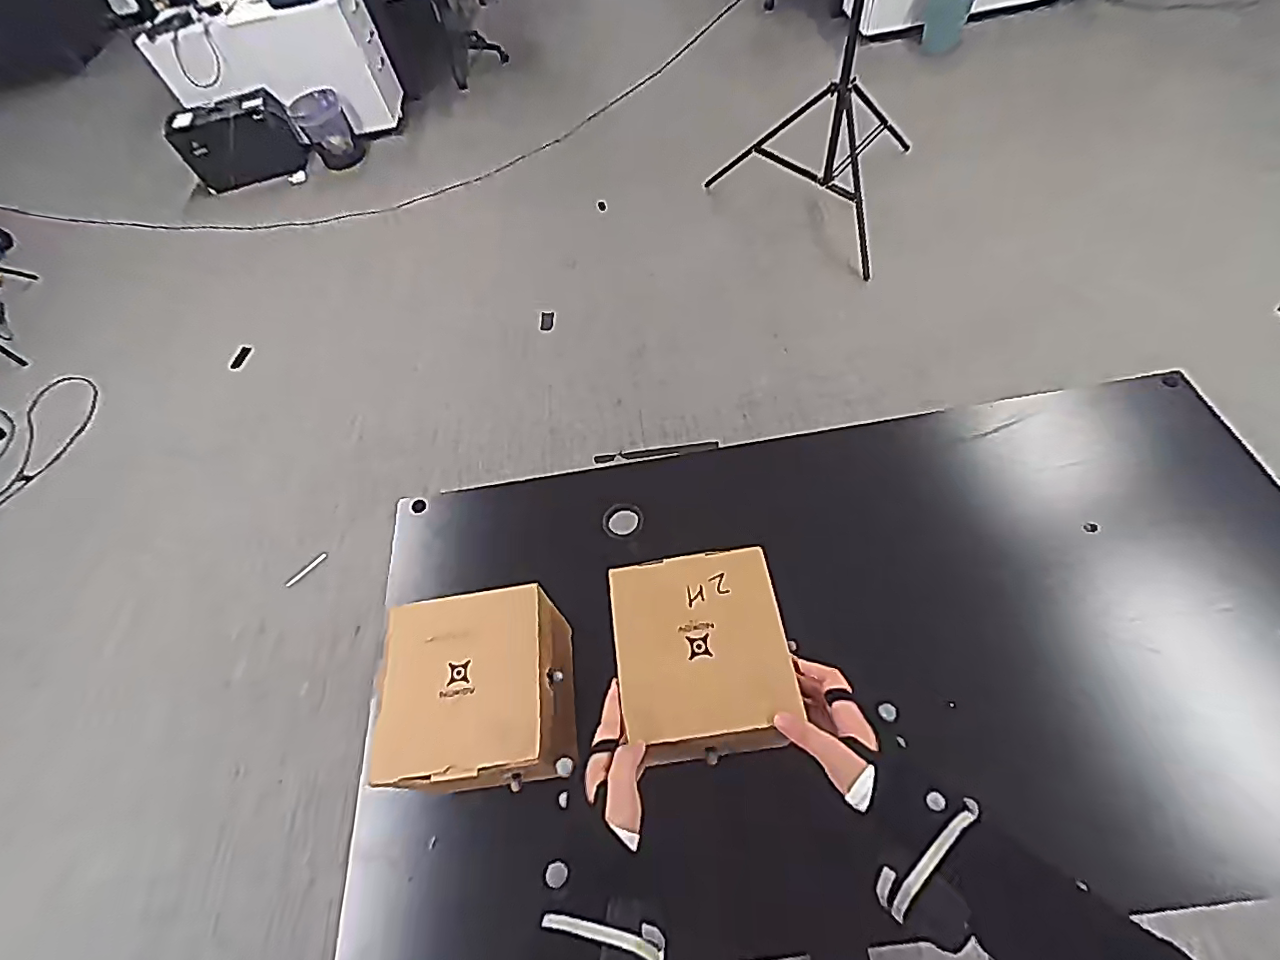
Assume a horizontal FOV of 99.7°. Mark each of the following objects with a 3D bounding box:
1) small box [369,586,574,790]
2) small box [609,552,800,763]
[{"bbox_3d":[-0.173,0.242,0.611,0.168,0.176,0.179,-9,57,1],"label":"small box"},{"bbox_3d":[0.064,0.202,0.592,0.168,0.176,0.179,-9,56,2],"label":"small box"}]
